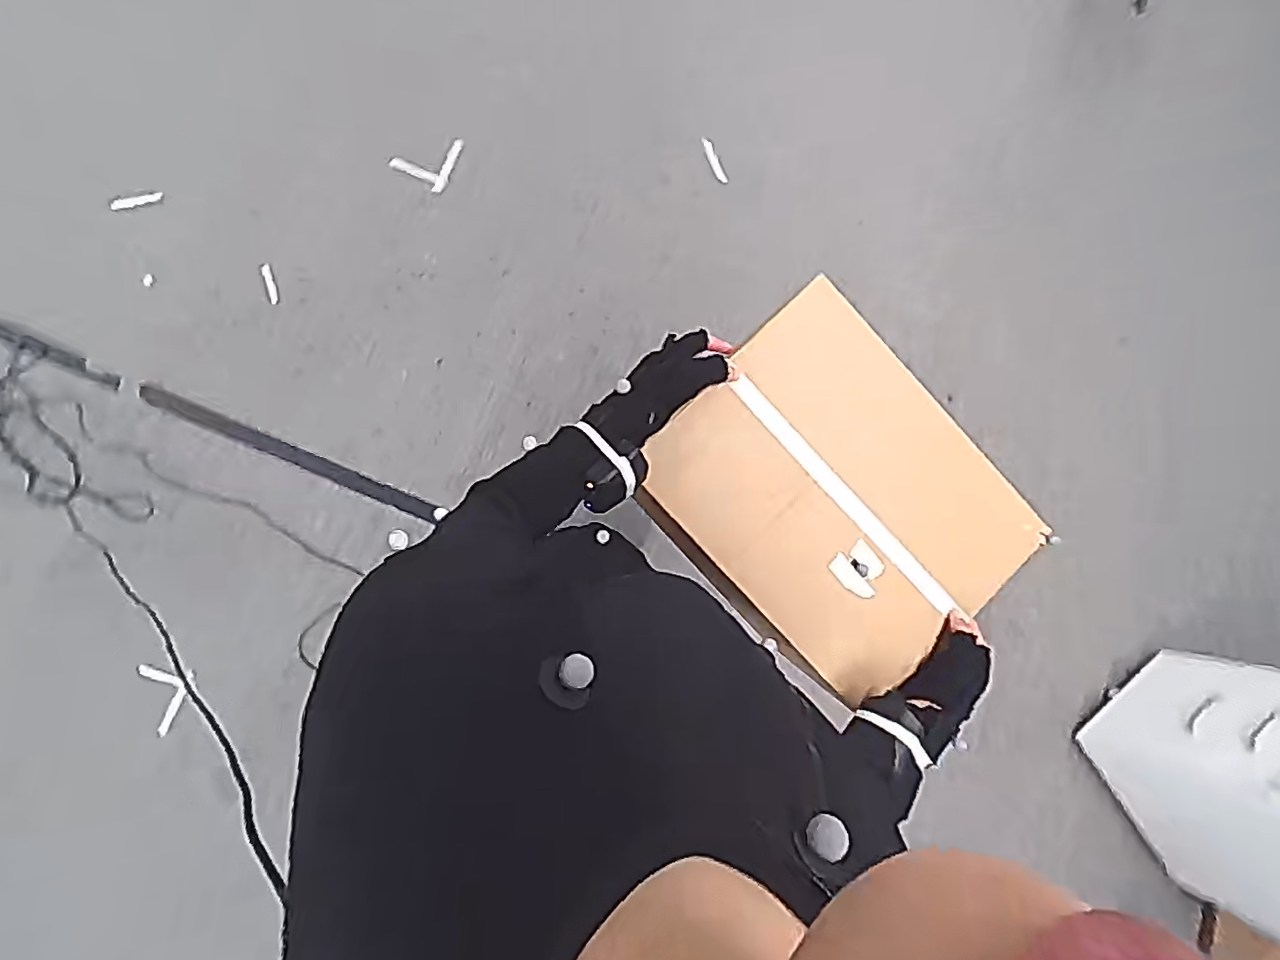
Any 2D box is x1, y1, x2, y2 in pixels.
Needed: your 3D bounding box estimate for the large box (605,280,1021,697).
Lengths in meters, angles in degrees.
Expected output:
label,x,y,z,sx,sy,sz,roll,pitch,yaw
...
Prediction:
label,x,y,z,sx,sy,sz,roll,pitch,yaw
large box,0.200,0.010,0.772,0.320,0.320,0.408,-45,94,-4
